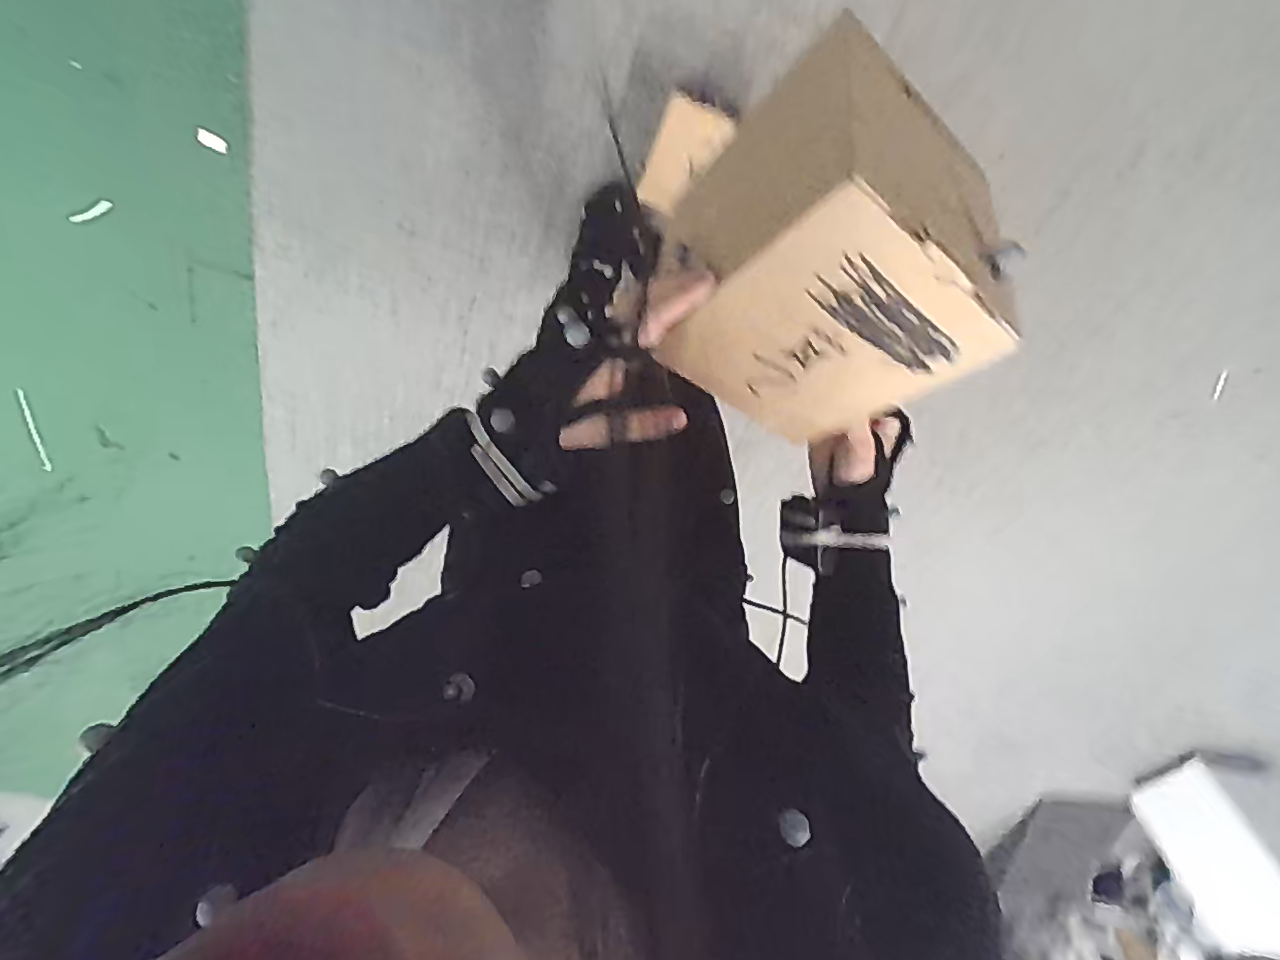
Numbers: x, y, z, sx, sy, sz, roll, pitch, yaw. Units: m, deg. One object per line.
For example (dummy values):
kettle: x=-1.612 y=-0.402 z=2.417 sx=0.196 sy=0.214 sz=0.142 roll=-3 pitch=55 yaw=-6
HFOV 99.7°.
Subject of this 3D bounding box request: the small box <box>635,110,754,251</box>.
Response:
small box: x=0.102 y=-0.583 z=1.048 sx=0.168 sy=0.176 sz=0.179 roll=20 pitch=126 yaw=-12
